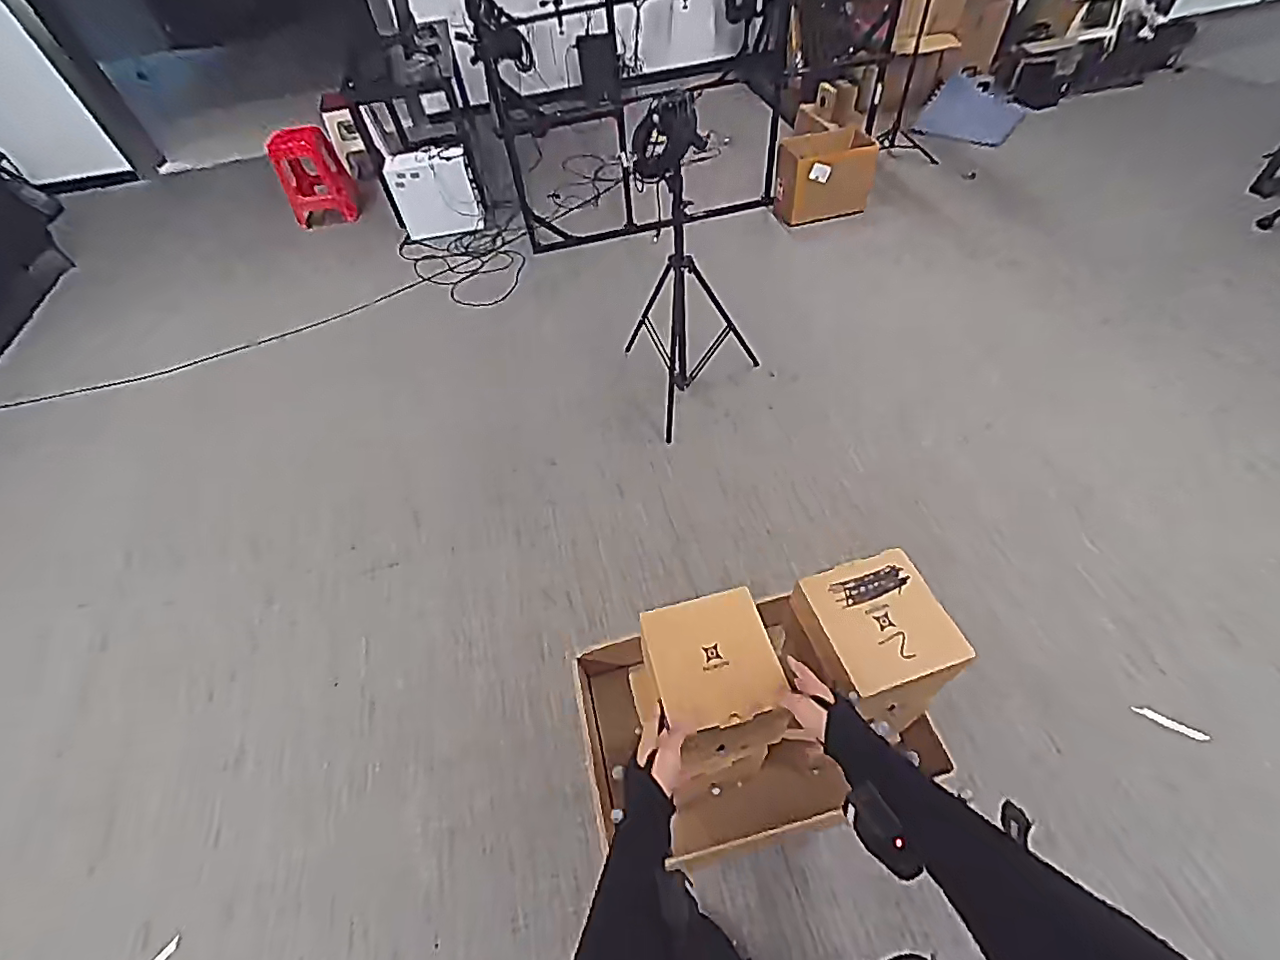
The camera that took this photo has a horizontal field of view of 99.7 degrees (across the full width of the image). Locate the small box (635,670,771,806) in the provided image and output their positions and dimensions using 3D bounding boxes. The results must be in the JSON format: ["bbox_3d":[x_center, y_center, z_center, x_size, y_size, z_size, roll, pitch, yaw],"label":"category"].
[{"bbox_3d":[0.095,0.409,0.896,0.168,0.176,0.179,-16,52,-9],"label":"small box"}]

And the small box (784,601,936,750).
[{"bbox_3d":[0.356,0.334,0.920,0.168,0.176,0.179,-11,51,-2],"label":"small box"}]

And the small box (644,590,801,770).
[{"bbox_3d":[0.107,0.290,0.782,0.168,0.176,0.179,-14,52,-7],"label":"small box"}]
